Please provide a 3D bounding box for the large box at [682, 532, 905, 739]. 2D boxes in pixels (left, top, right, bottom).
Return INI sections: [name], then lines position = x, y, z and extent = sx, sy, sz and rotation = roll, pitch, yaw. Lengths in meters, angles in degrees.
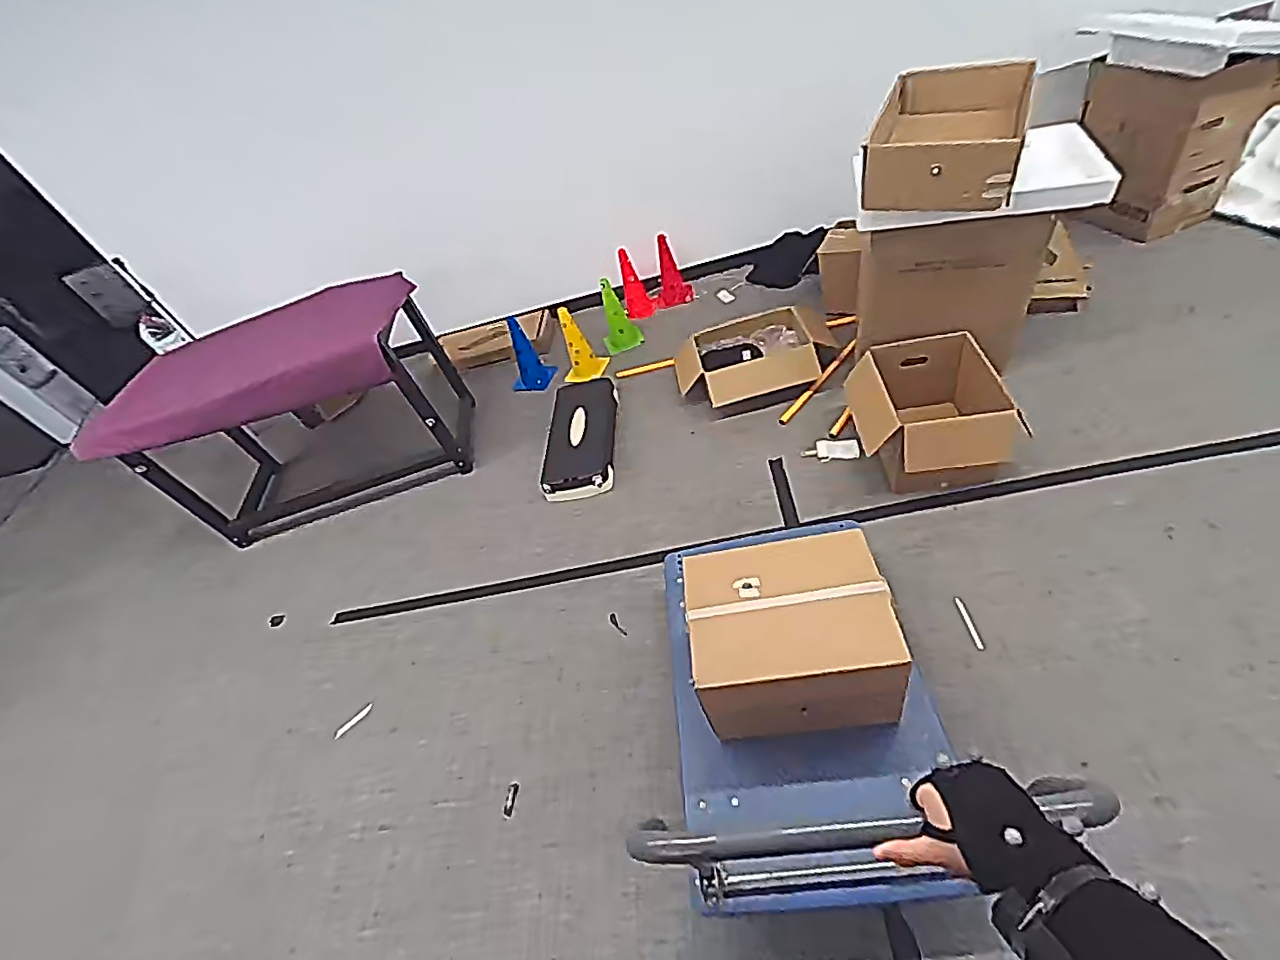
[large box]
position = 0.337, 0.365, 1.236
extent = 0.408, 0.320, 0.320
rotation = -12, 44, 10
